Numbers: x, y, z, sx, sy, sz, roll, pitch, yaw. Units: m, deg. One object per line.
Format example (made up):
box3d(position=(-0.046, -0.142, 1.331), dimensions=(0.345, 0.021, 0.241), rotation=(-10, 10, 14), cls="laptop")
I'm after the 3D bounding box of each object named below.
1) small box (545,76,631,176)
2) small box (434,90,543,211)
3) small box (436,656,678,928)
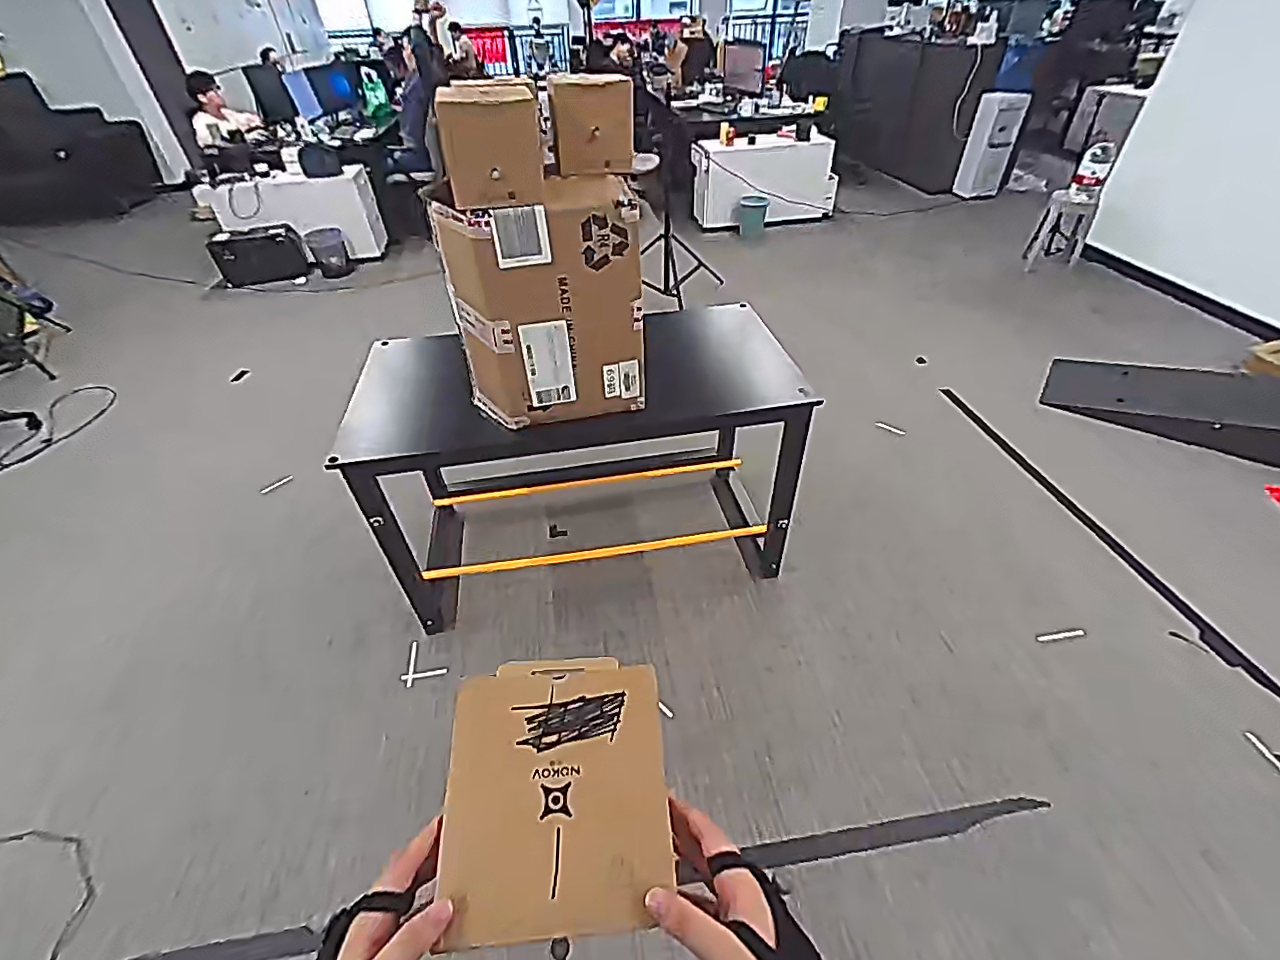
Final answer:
box3d(position=(-0.115, -0.788, 1.208), dimensions=(0.168, 0.176, 0.179), rotation=(-8, 42, -10), cls="small box")
box3d(position=(-0.281, -0.622, 1.021), dimensions=(0.168, 0.176, 0.179), rotation=(-9, 43, -10), cls="small box")
box3d(position=(-0.065, 0.274, 0.477), dimensions=(0.168, 0.176, 0.179), rotation=(-3, 53, -5), cls="small box")
